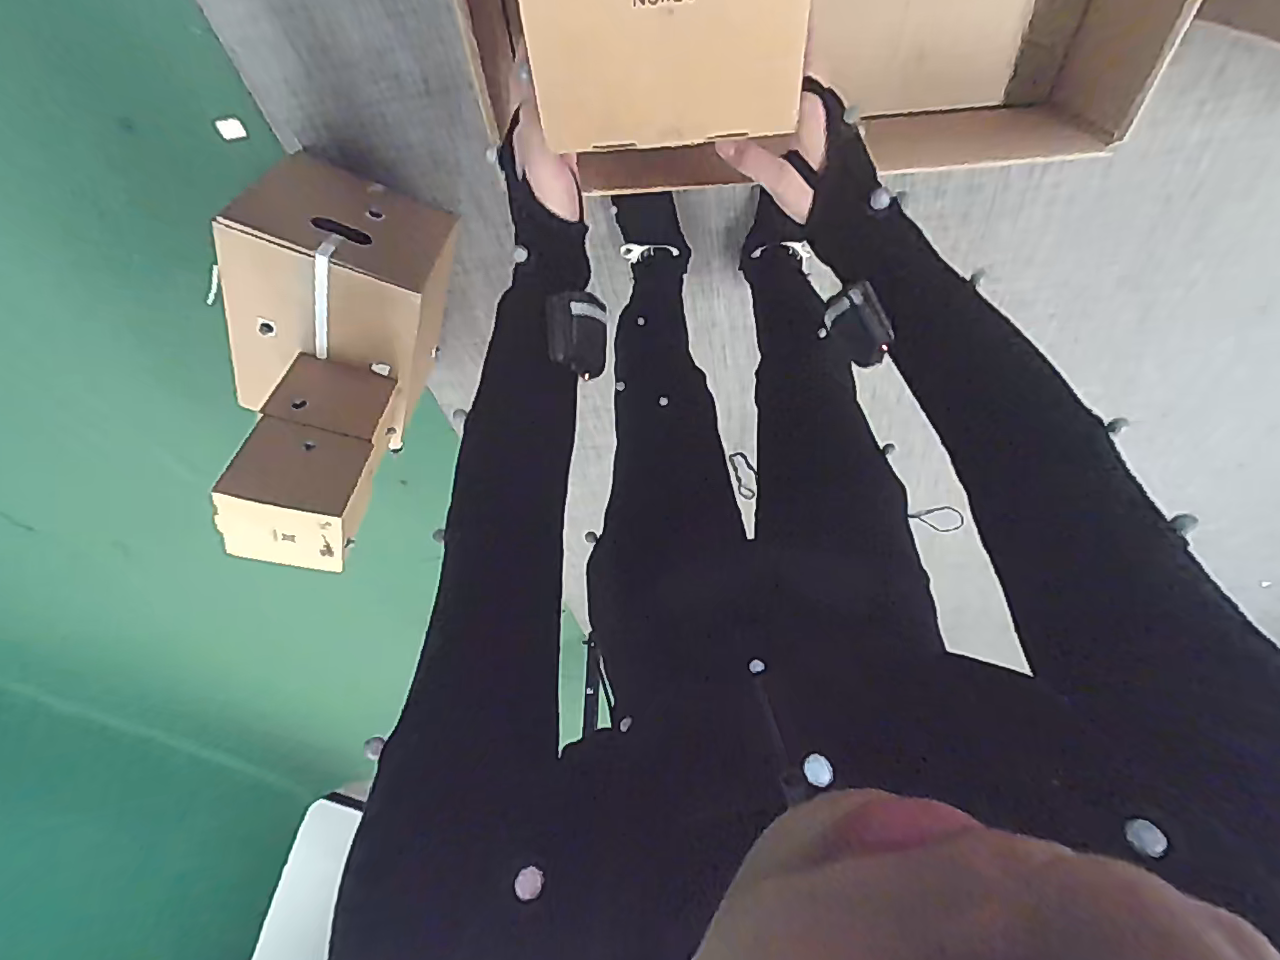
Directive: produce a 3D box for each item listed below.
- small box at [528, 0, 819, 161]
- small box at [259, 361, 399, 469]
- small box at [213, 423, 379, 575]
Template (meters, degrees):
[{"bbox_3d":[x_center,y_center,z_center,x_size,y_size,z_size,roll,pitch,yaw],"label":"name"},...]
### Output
[{"bbox_3d":[0.017,-0.334,0.346,0.168,0.176,0.179,-3,139,4],"label":"small box"},{"bbox_3d":[-0.569,-0.095,1.003,0.179,0.176,0.168,15,136,-18],"label":"small box"},{"bbox_3d":[-0.557,0.030,0.897,0.179,0.176,0.168,15,135,-17],"label":"small box"}]
